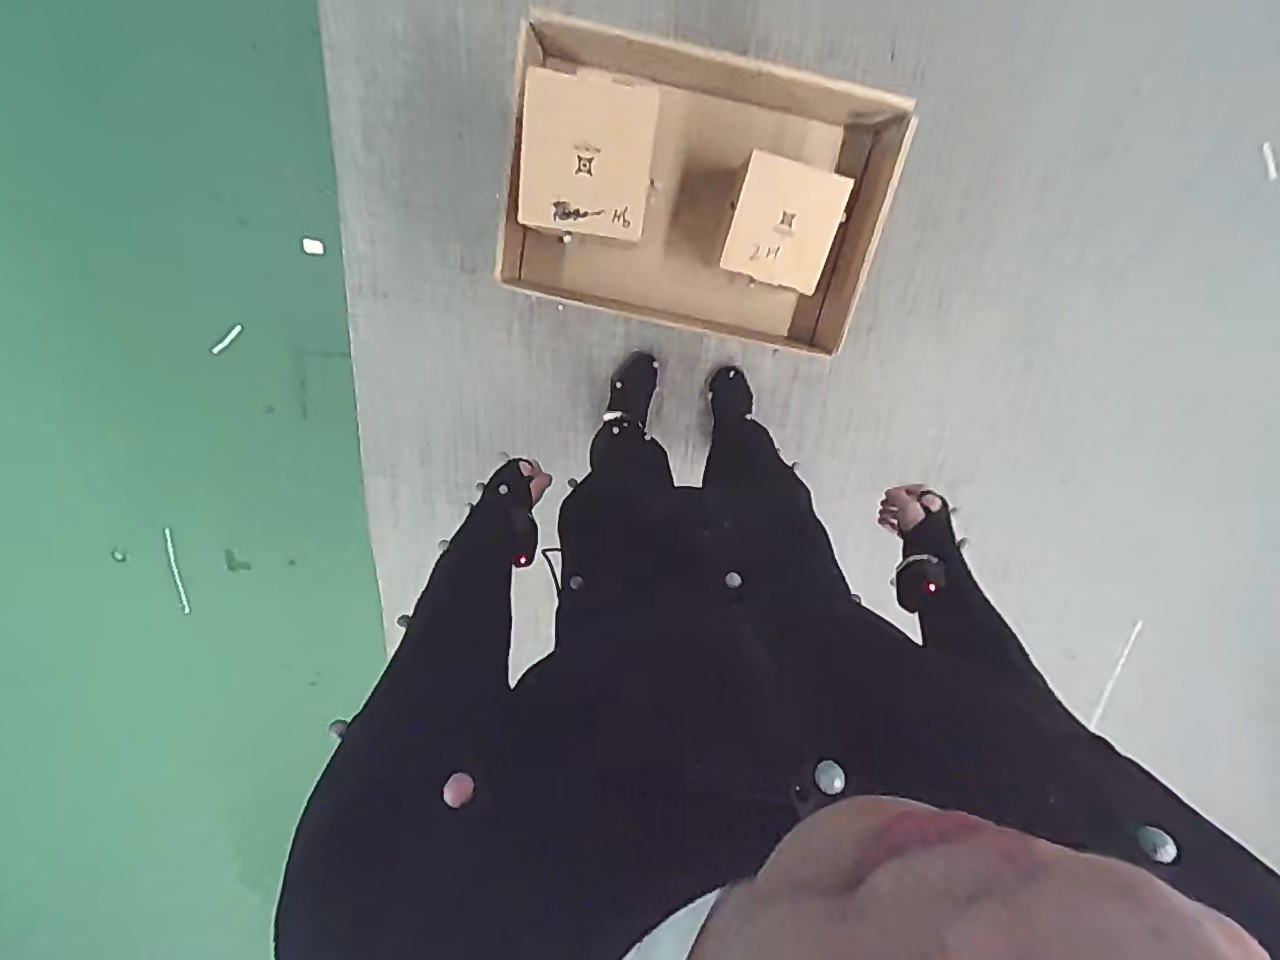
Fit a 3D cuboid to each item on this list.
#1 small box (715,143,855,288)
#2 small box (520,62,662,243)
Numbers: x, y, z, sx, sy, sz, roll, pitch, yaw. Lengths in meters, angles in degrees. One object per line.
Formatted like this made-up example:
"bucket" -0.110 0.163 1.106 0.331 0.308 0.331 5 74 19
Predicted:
"small box" 0.234 -0.443 0.928 0.168 0.176 0.179 16 112 -3
"small box" -0.064 -0.446 0.765 0.168 0.176 0.179 9 111 0
